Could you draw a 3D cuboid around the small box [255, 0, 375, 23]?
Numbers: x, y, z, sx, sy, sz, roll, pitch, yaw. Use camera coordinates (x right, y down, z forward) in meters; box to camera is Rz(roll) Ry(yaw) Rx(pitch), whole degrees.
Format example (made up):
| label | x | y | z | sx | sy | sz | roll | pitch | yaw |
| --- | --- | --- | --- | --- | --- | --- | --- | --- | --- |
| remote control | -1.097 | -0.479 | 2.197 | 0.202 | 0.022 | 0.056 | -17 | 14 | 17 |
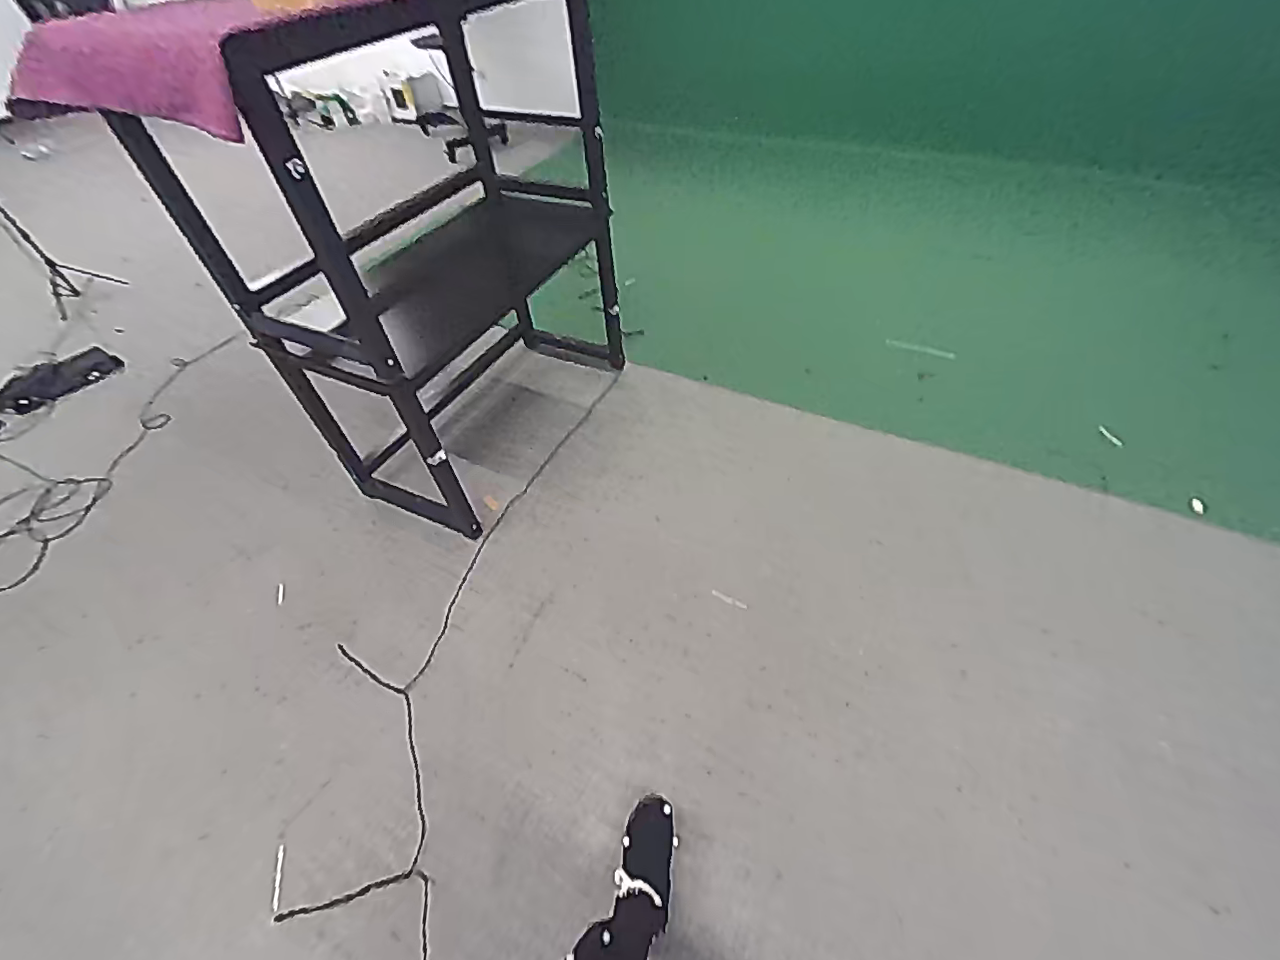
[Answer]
| label | x | y | z | sx | sy | sz | roll | pitch | yaw |
| --- | --- | --- | --- | --- | --- | --- | --- | --- | --- |
| small box | -0.664 | -1.022 | 1.059 | 0.179 | 0.176 | 0.168 | 17 | 51 | 21 |
